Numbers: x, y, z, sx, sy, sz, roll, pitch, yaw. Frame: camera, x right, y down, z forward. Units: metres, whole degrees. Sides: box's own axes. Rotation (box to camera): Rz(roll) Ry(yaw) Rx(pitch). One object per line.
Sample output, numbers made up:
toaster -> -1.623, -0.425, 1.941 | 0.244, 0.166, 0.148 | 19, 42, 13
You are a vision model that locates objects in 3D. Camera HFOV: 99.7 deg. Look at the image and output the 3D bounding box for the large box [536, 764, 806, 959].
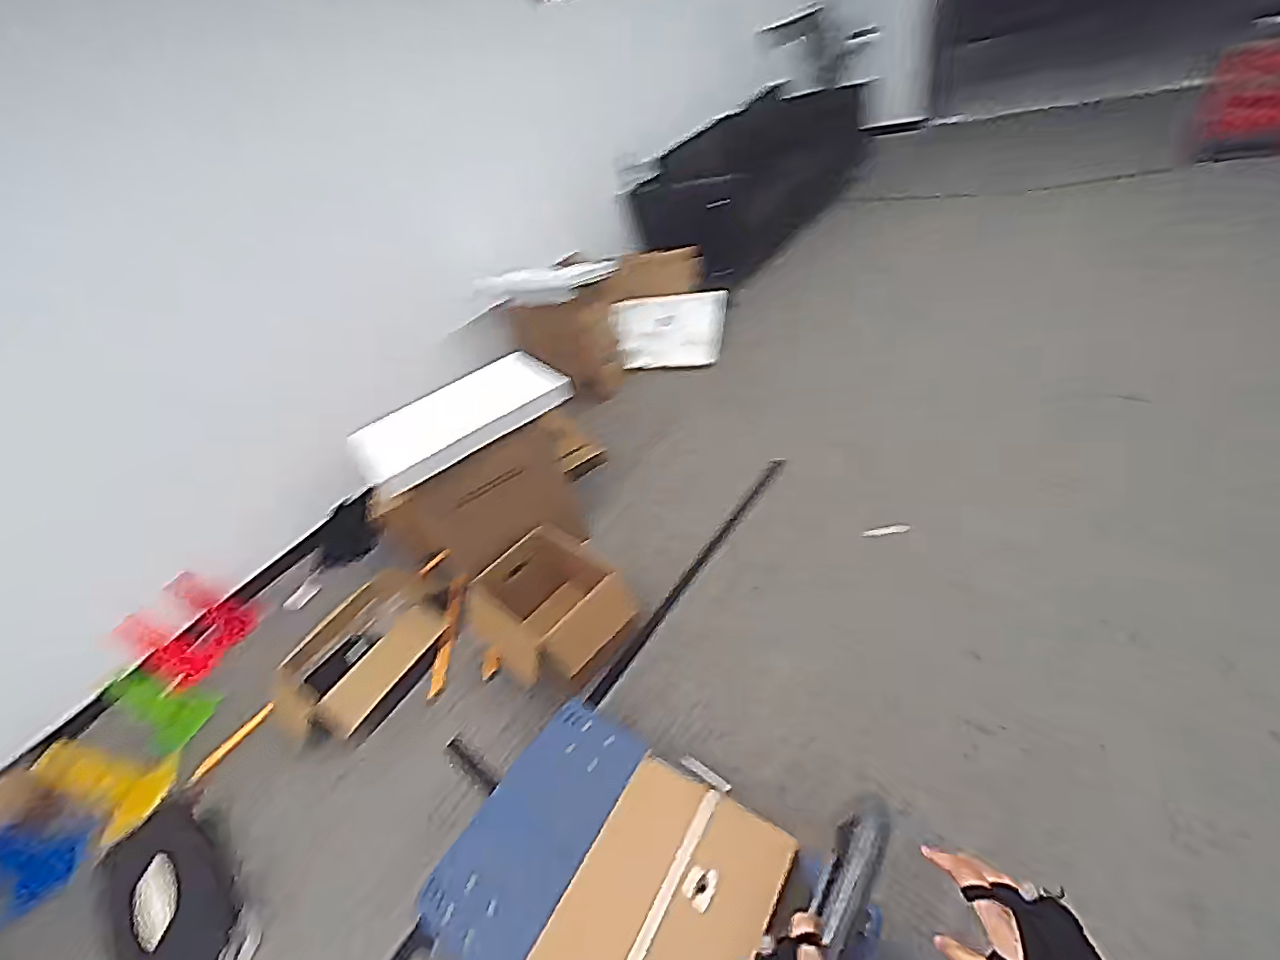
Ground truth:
large box -> 0.068, 0.817, 0.949 | 0.320, 0.320, 0.408 | 12, 46, 34
